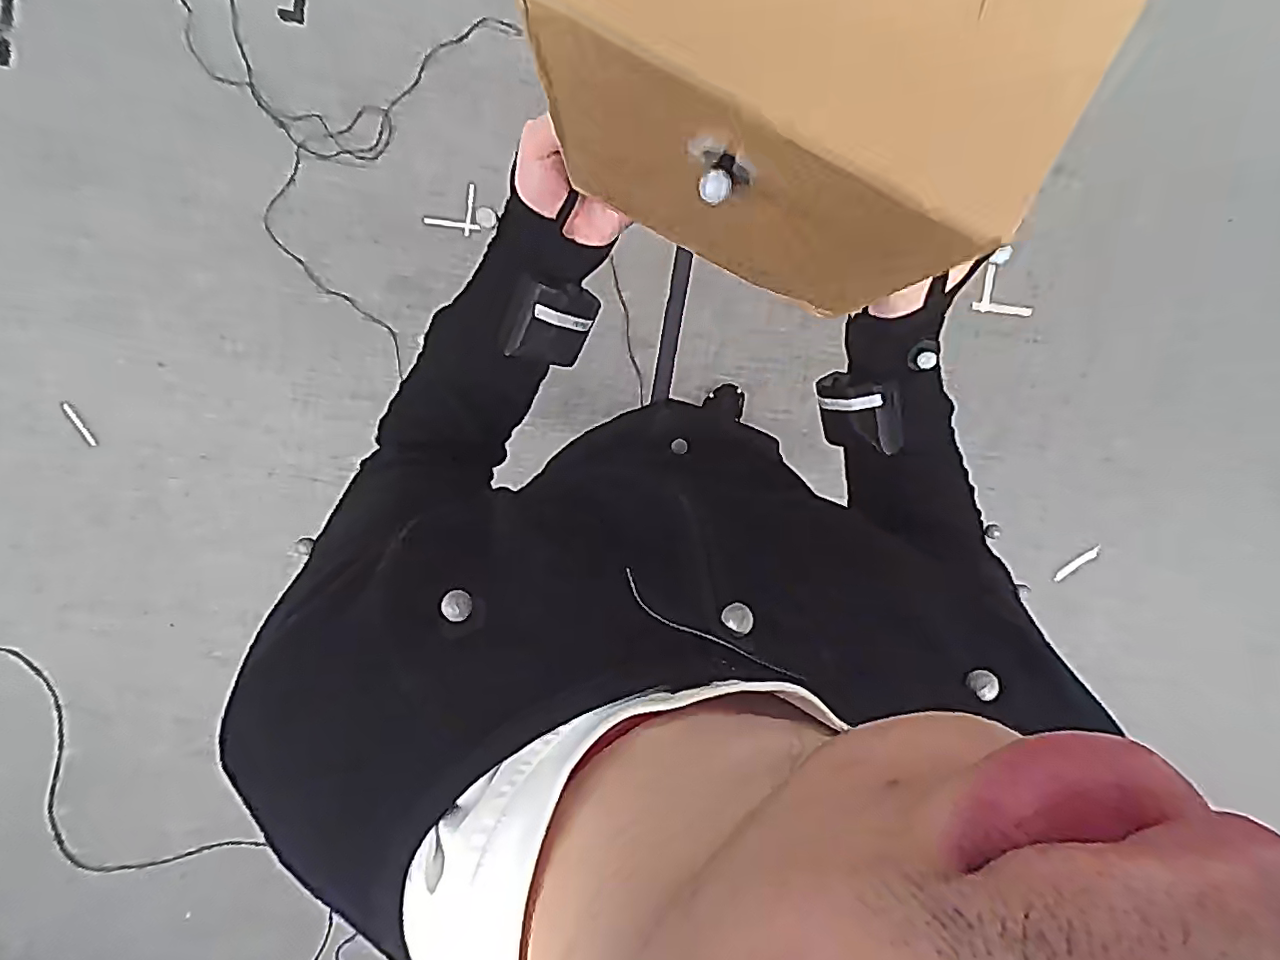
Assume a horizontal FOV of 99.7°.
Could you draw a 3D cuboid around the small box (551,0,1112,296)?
[{"bbox_3d":[0.074,-0.205,0.244,0.179,0.176,0.168,26,97,-3],"label":"small box"}]
